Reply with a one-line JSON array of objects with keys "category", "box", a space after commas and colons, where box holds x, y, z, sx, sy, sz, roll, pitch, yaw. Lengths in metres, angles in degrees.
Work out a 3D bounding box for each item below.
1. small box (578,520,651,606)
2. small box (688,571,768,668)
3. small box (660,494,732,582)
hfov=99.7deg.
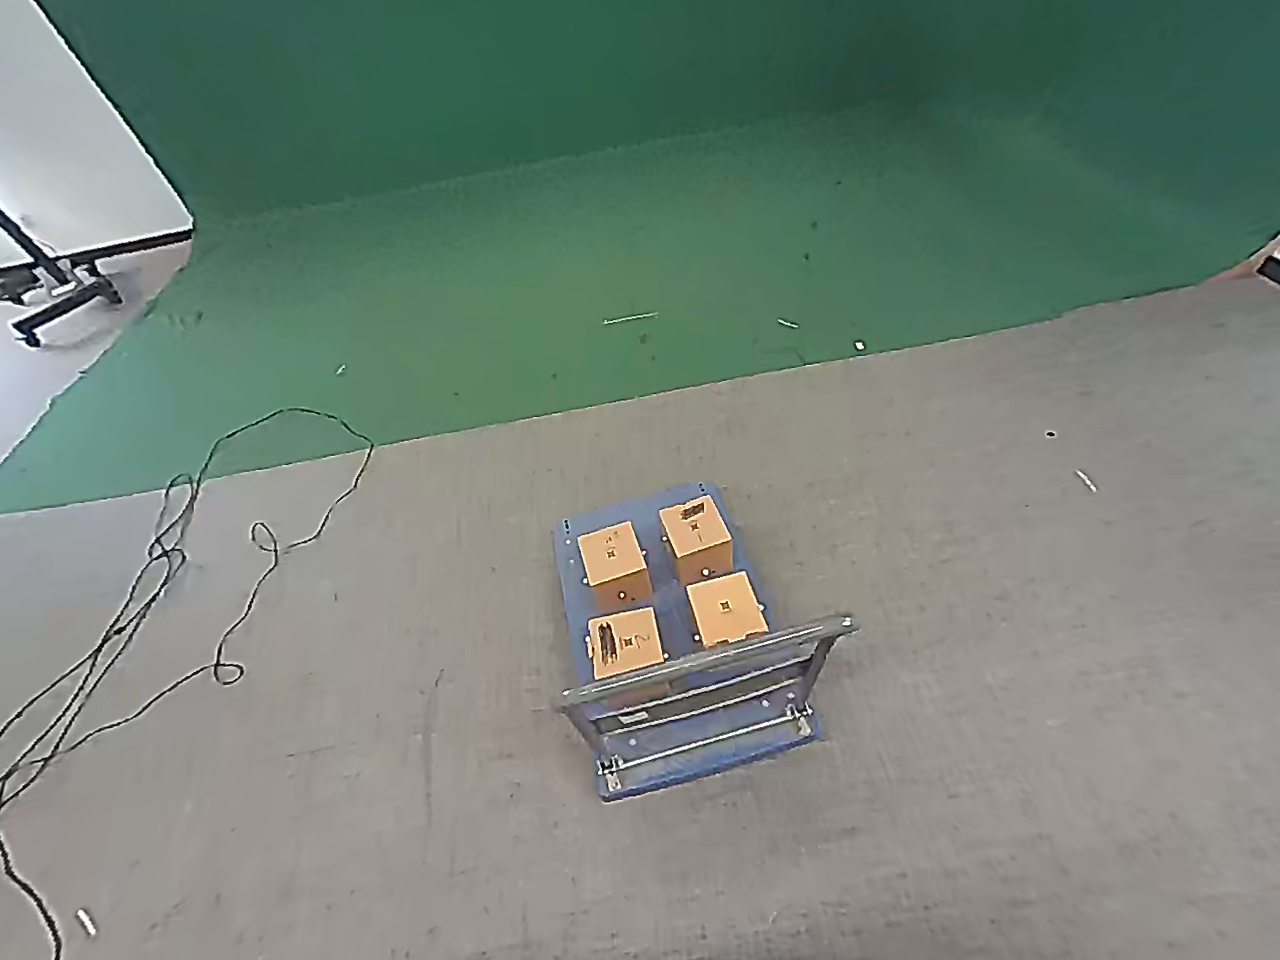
[{"category": "small box", "box": [-0.072, 0.252, 1.594, 0.168, 0.176, 0.179, -16, 50, -6]}, {"category": "small box", "box": [0.229, 0.375, 1.445, 0.168, 0.176, 0.179, -14, 50, -2]}, {"category": "small box", "box": [0.168, 0.176, 1.618, 0.168, 0.176, 0.179, -18, 51, -5]}]
